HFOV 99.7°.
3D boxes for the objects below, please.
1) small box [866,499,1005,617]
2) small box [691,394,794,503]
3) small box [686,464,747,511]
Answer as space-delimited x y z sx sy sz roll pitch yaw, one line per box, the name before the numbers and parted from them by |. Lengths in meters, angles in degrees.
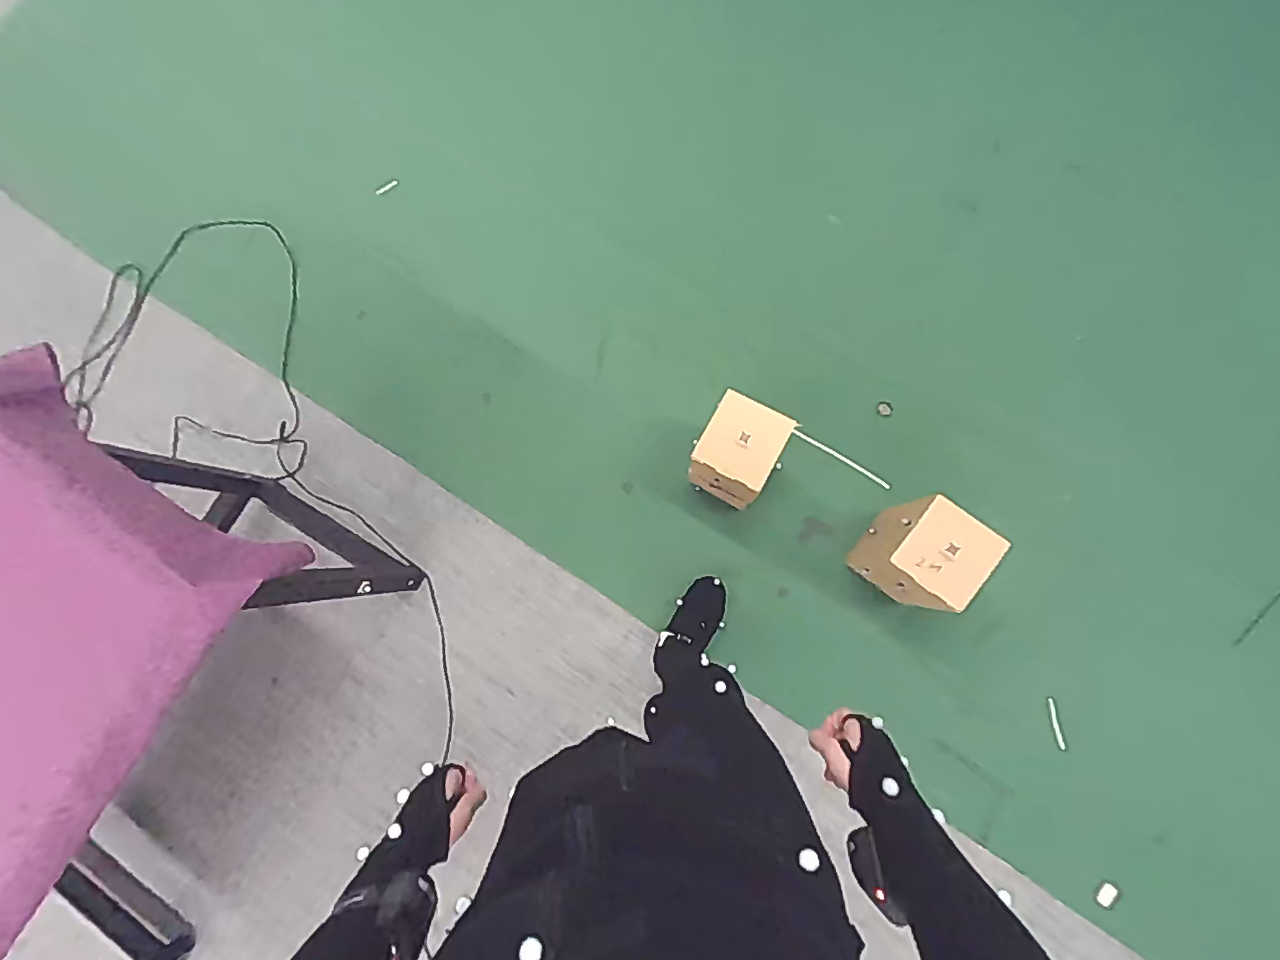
small box | 0.615 0.165 1.153 0.168 0.176 0.179 39 87 10
small box | 0.225 -0.065 1.232 0.168 0.176 0.179 28 85 9
small box | 0.234 -0.034 1.391 0.168 0.176 0.179 30 84 10
